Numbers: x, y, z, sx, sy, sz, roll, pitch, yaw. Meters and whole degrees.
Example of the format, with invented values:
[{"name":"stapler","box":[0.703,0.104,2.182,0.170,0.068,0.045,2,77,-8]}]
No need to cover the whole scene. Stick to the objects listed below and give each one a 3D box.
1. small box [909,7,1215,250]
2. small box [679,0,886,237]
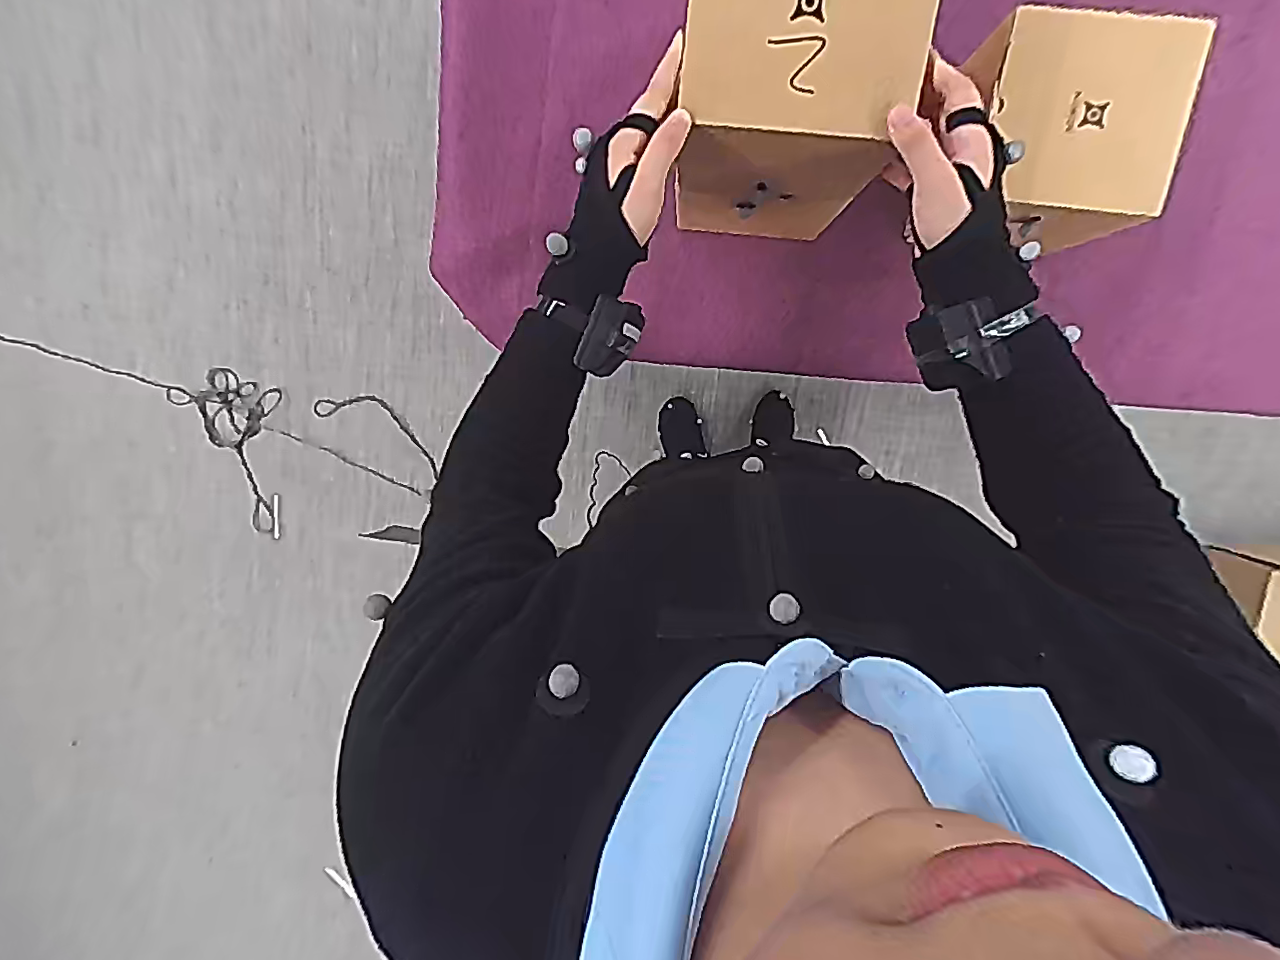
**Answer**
[{"name":"small box","box":[0.423,-0.354,0.580,0.179,0.176,0.168,8,102,4]},{"name":"small box","box":[0.140,-0.379,0.598,0.179,0.176,0.168,7,102,3]}]
